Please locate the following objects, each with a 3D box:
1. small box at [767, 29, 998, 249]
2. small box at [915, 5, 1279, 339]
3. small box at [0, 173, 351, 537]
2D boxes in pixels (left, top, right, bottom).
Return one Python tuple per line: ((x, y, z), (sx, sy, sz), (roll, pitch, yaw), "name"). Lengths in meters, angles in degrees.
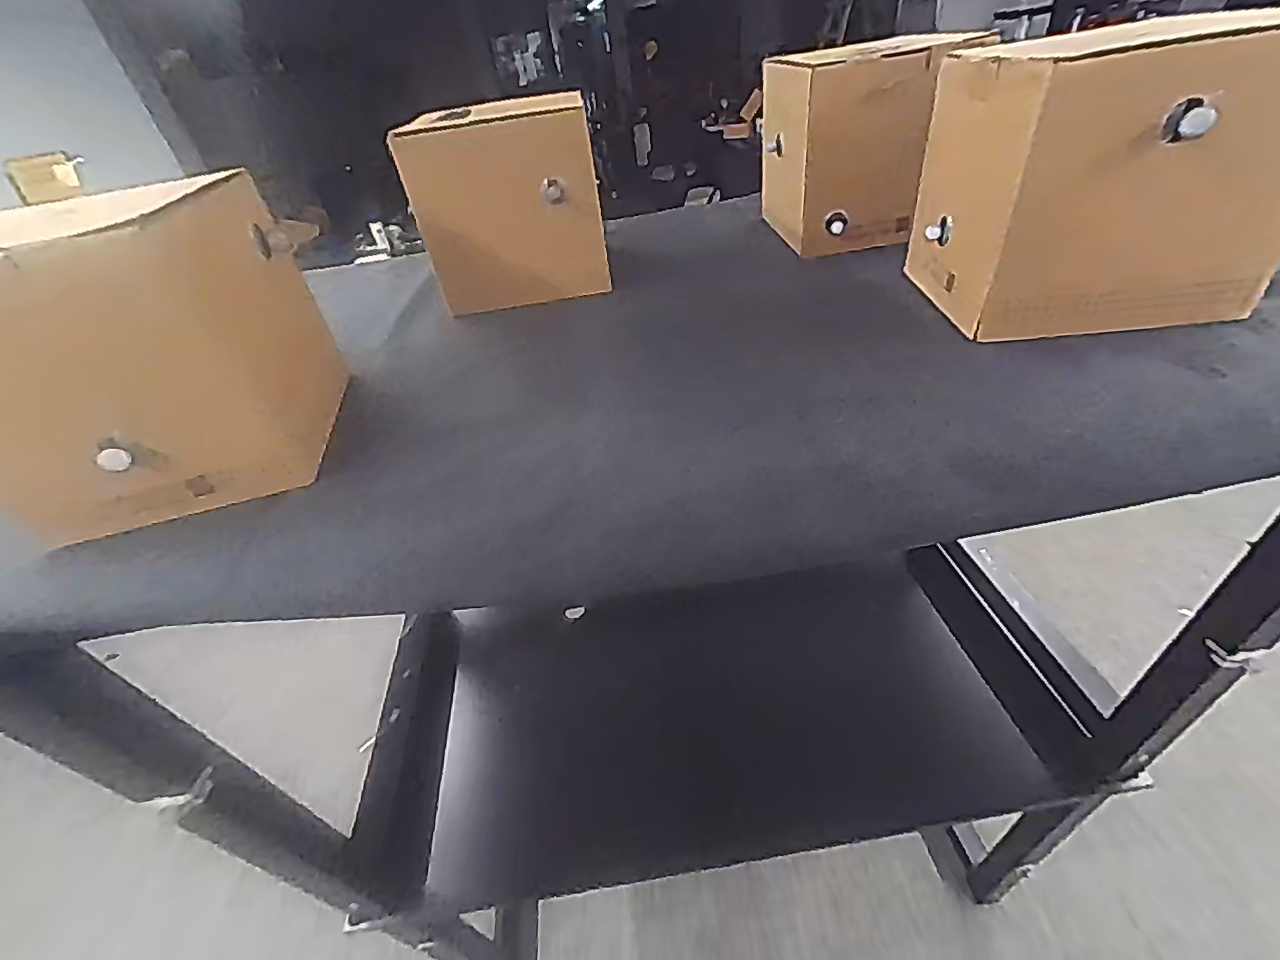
((0.239, -0.362, 0.584), (0.168, 0.176, 0.179), (-8, 38, 2), "small box")
((0.324, -0.217, 0.387), (0.179, 0.176, 0.168), (-4, 38, 8), "small box")
((-0.325, -0.091, 0.370), (0.168, 0.176, 0.179), (-15, 40, -6), "small box")
